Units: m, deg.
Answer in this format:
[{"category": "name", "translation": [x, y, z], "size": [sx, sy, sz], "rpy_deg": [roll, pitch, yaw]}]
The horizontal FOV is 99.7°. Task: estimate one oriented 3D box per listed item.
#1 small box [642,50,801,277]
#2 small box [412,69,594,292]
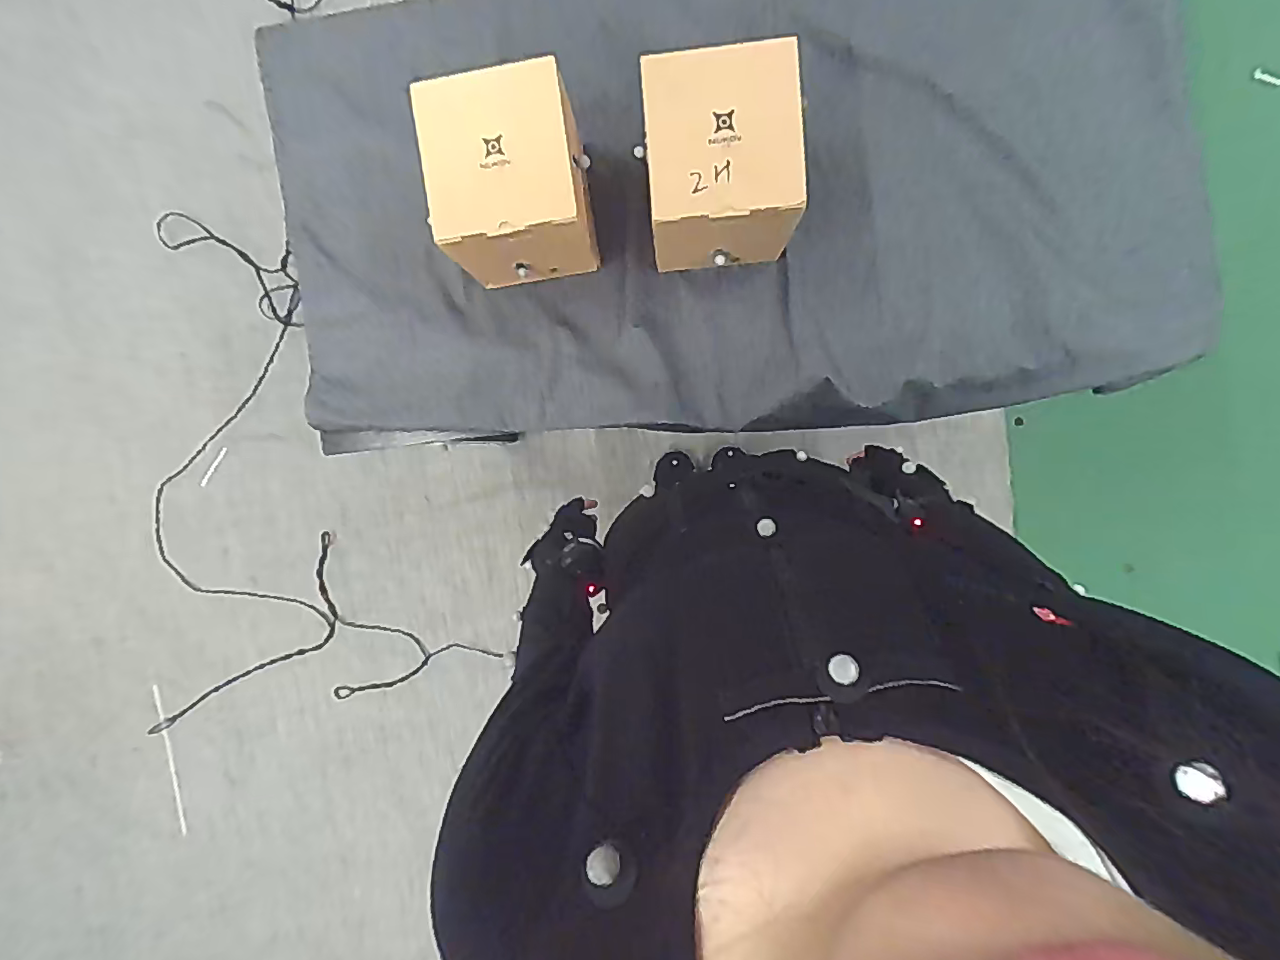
[{"category": "small box", "translation": [0.090, -0.366, 0.655], "size": [0.168, 0.176, 0.179], "rpy_deg": [-4, 93, 4]}, {"category": "small box", "translation": [-0.157, -0.355, 0.674], "size": [0.168, 0.176, 0.179], "rpy_deg": [-8, 93, 4]}]
